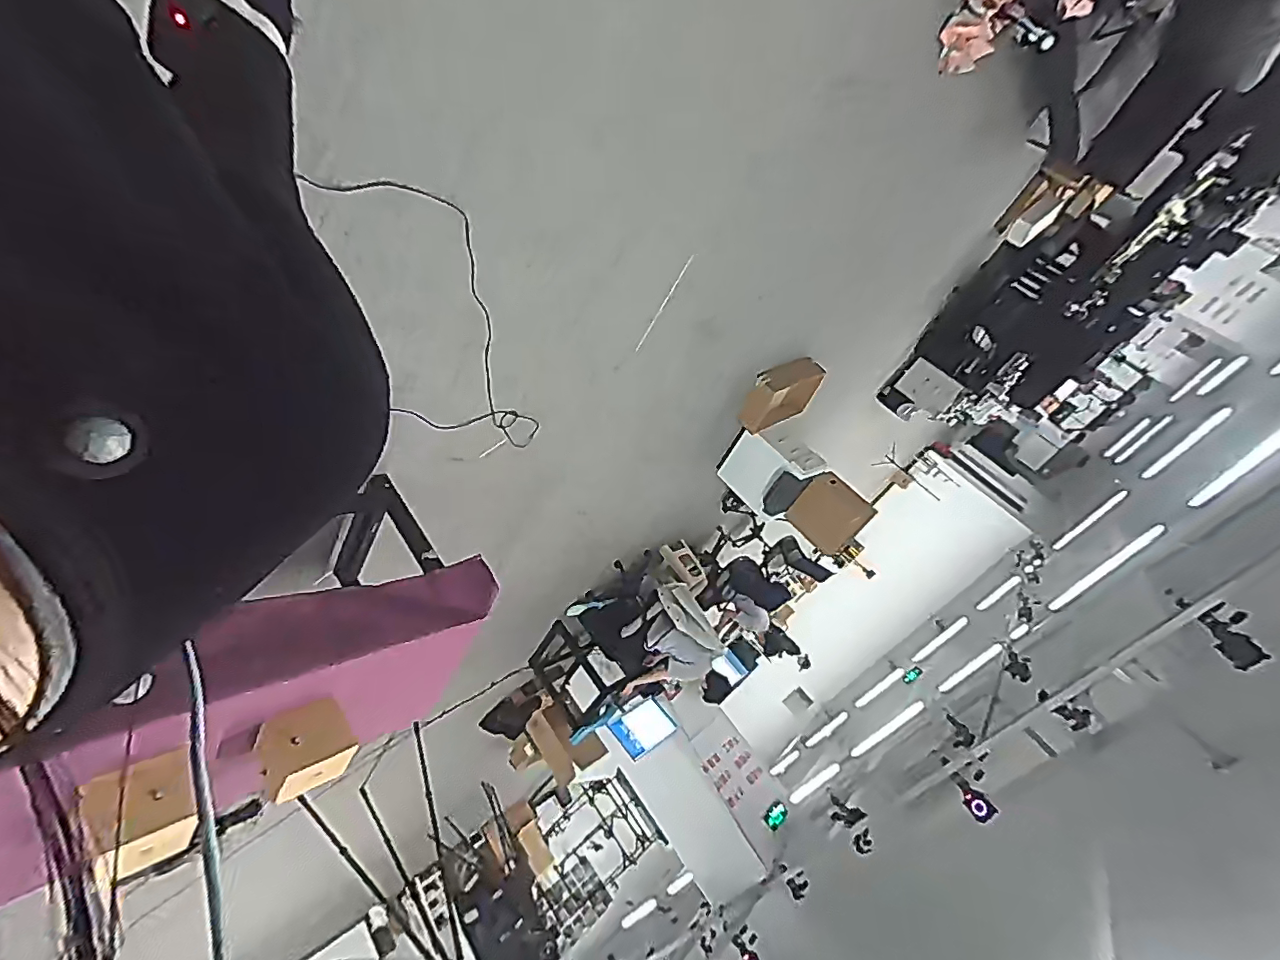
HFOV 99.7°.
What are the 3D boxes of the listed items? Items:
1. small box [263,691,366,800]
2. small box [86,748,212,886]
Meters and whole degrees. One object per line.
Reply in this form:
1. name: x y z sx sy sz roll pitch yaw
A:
1. small box: -0.877 0.704 1.450 0.179 0.176 0.168 -6 138 -53
2. small box: -1.075 0.721 1.181 0.168 0.176 0.179 -4 137 -54
